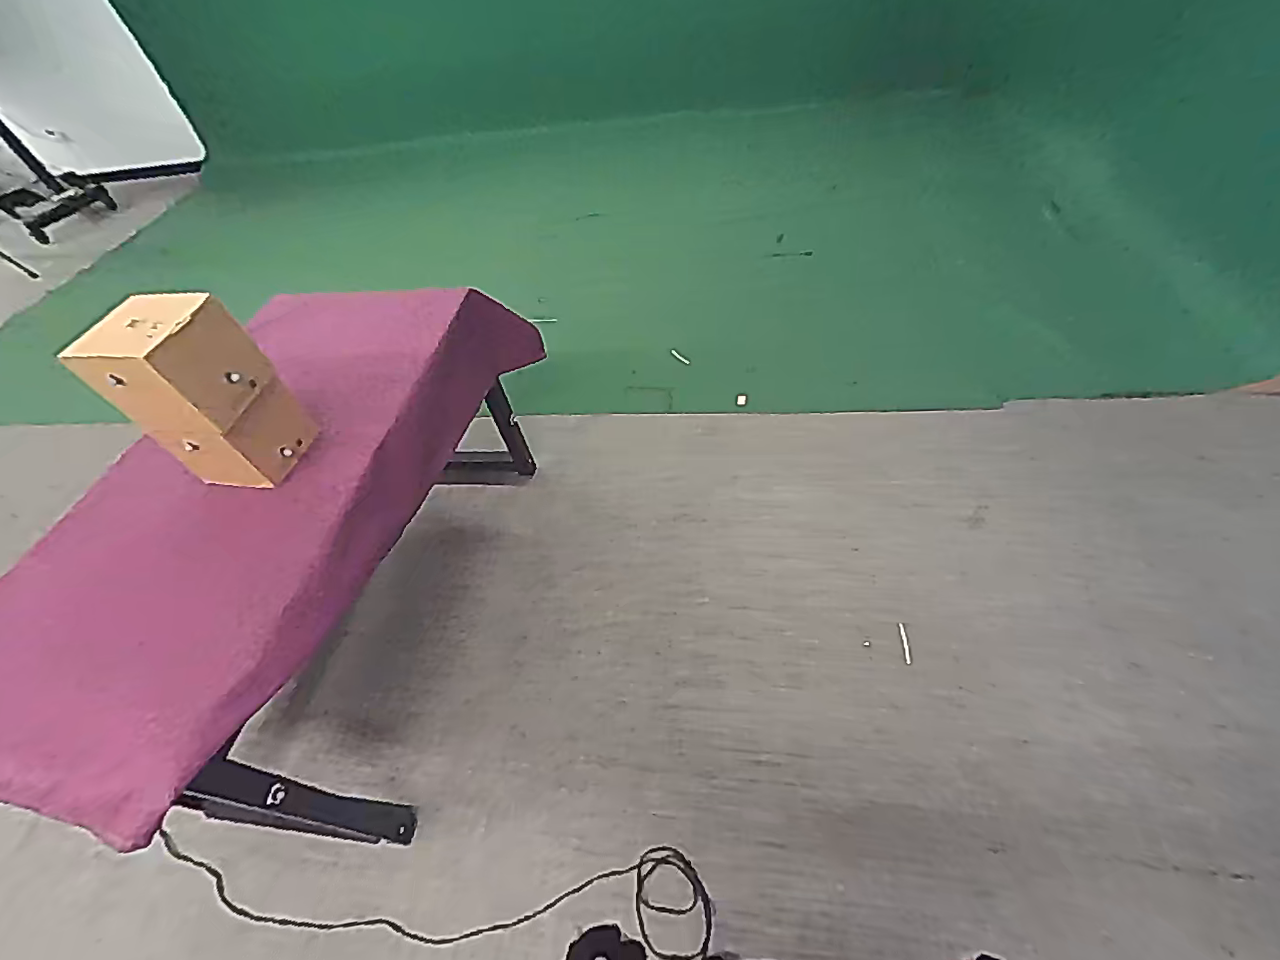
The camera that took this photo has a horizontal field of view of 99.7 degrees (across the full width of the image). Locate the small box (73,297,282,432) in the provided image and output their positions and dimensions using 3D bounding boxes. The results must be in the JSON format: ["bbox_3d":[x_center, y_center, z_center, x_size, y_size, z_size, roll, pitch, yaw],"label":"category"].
[{"bbox_3d":[-0.786,-0.198,0.941,0.179,0.176,0.168,3,53,12],"label":"small box"}]

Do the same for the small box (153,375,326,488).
[{"bbox_3d":[-0.779,-0.100,1.073,0.179,0.176,0.168,5,53,13],"label":"small box"}]
